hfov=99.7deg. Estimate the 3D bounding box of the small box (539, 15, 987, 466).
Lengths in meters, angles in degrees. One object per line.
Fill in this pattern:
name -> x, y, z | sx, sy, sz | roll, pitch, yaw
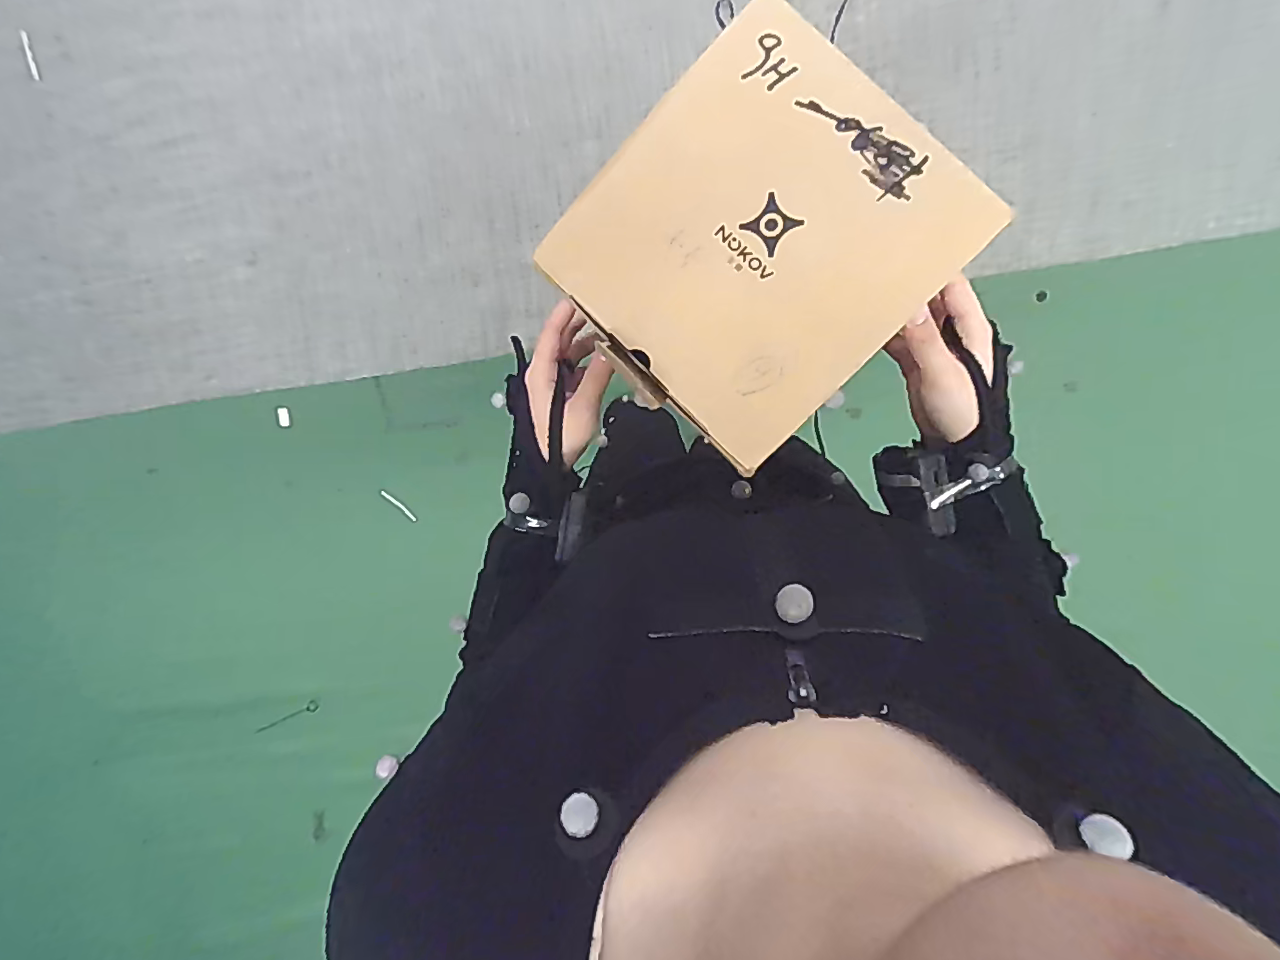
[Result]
small box -> 0.070, -0.126, 0.362 | 0.168, 0.176, 0.179 | 45, 98, 4
